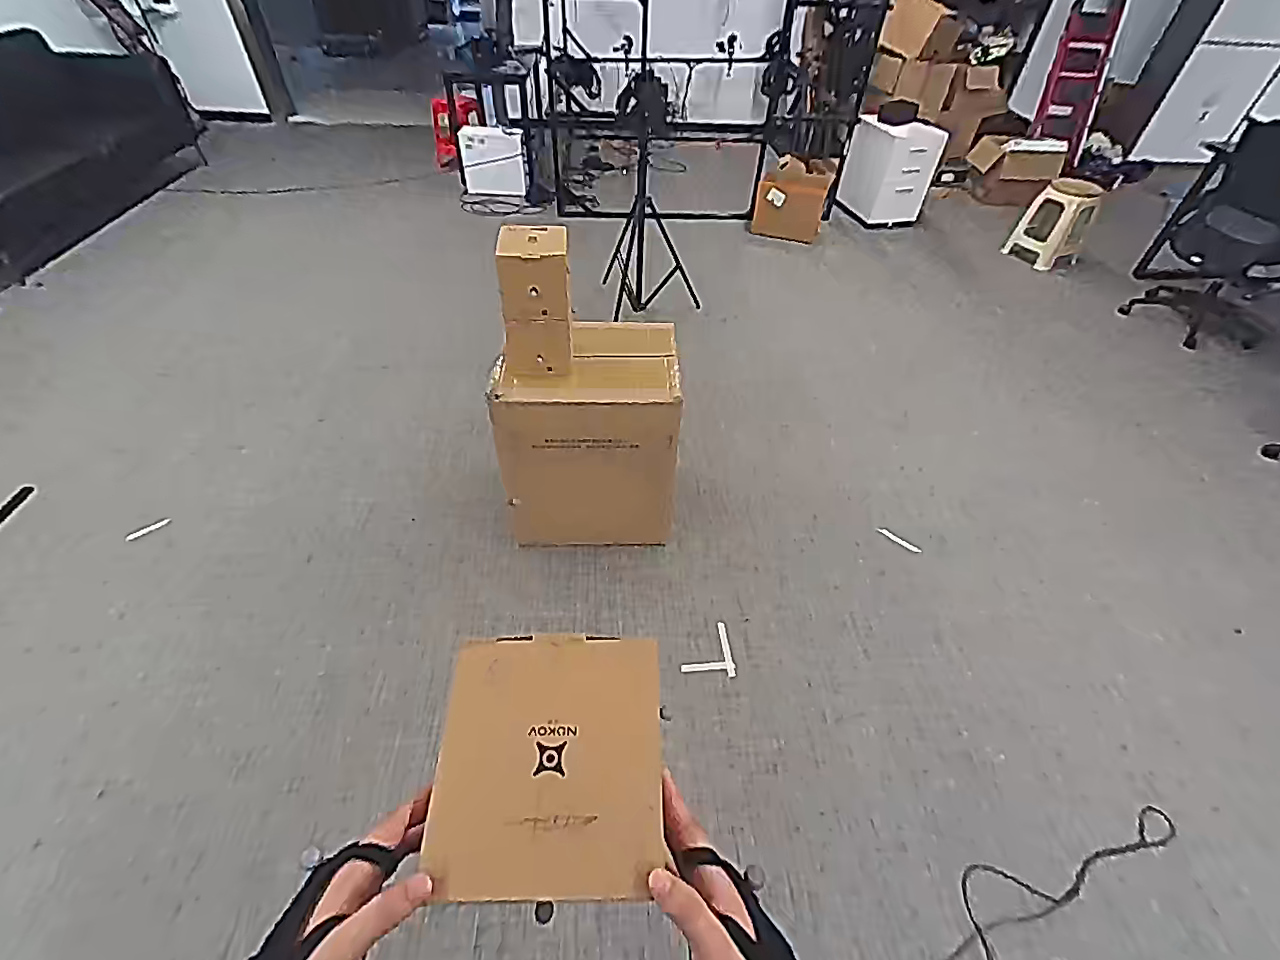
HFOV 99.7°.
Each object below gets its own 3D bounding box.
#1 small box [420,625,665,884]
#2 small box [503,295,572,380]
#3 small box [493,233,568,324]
[{"bbox_3d":[-0.067,0.241,0.471,0.168,0.176,0.179,0,54,-1],"label":"small box"},{"bbox_3d":[-0.277,-0.395,1.495,0.168,0.176,0.179,-1,46,-5],"label":"small box"},{"bbox_3d":[-0.272,-0.511,1.379,0.168,0.176,0.179,-2,47,-6],"label":"small box"}]
